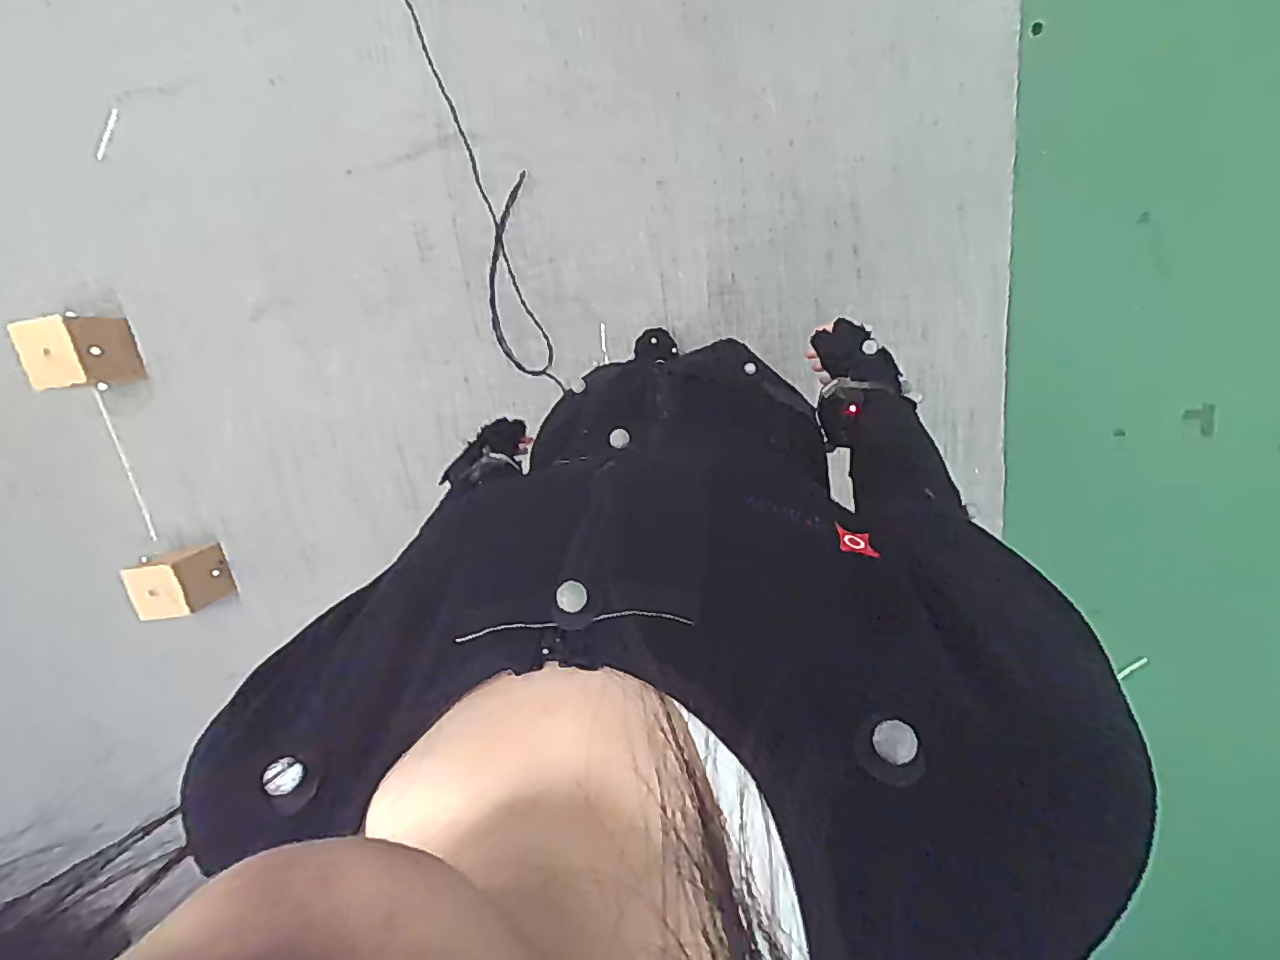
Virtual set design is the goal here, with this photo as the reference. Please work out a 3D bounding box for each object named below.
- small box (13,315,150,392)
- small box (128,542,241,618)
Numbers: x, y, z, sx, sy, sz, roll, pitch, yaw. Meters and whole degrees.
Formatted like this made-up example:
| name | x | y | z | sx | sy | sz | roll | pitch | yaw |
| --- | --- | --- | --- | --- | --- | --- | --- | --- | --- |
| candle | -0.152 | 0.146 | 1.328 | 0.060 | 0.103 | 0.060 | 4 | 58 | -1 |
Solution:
| name | x | y | z | sx | sy | sz | roll | pitch | yaw |
| --- | --- | --- | --- | --- | --- | --- | --- | --- | --- |
| small box | -1.511 | -0.347 | 1.476 | 0.168 | 0.176 | 0.179 | -8 | 106 | 7 |
| small box | -1.383 | 0.303 | 1.652 | 0.179 | 0.176 | 0.168 | -8 | 105 | 8 |
